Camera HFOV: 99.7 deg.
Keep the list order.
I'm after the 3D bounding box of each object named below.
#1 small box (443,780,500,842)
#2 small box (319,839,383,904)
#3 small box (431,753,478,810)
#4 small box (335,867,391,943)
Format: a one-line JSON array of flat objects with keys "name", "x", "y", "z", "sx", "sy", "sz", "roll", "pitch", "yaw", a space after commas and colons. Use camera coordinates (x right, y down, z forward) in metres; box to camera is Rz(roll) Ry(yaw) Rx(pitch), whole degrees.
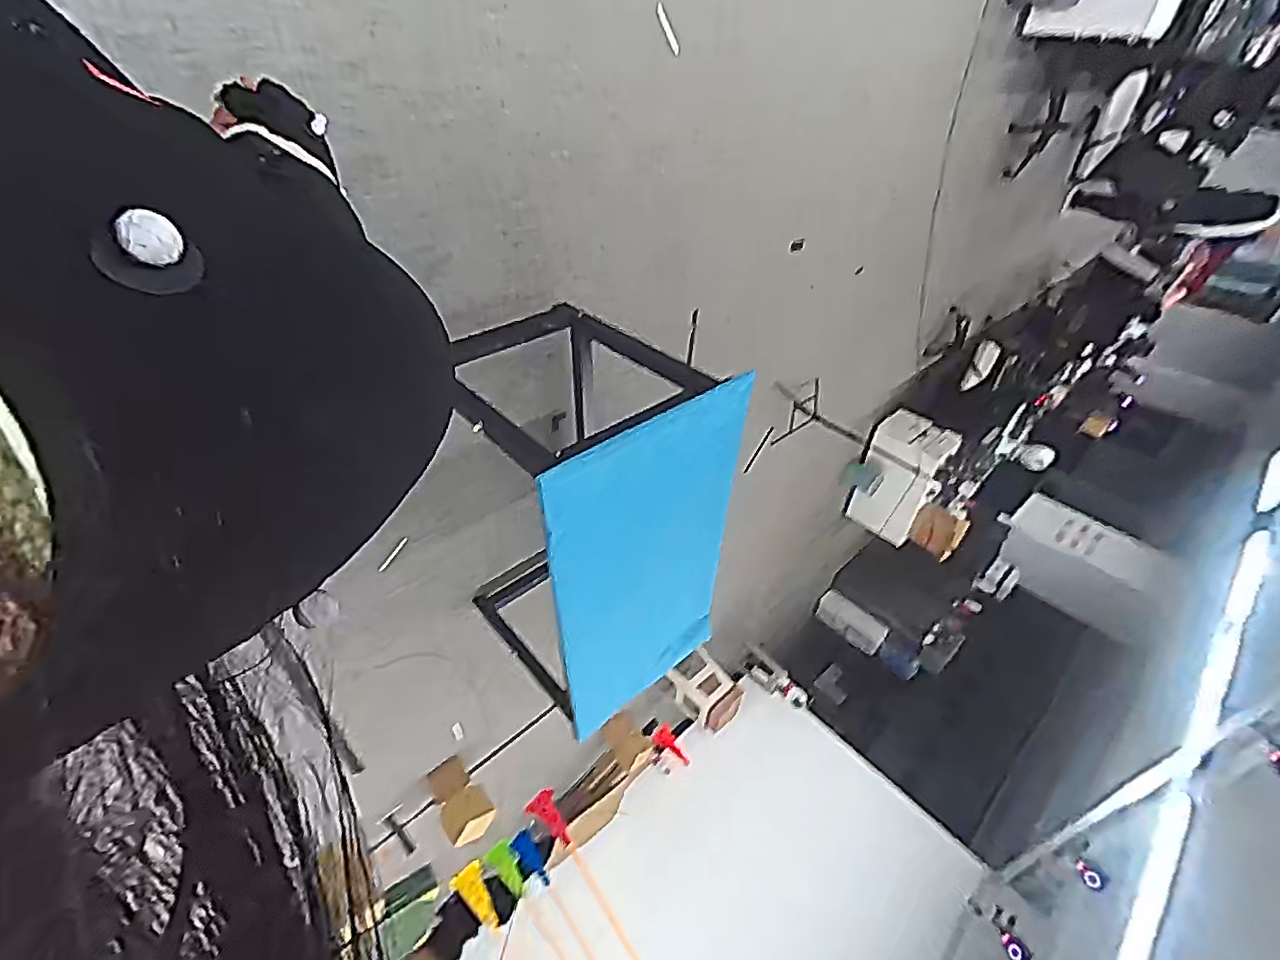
[{"name": "small box", "x": -0.817, "y": 1.617, "z": 2.633, "sx": 0.179, "sy": 0.176, "sz": 0.168, "roll": 12, "pitch": 110, "yaw": -55}, {"name": "small box", "x": -1.318, "y": 1.766, "z": 2.456, "sx": 0.179, "sy": 0.176, "sz": 0.168, "roll": -49, "pitch": 144, "yaw": -8}, {"name": "small box", "x": -0.930, "y": 1.526, "z": 2.718, "sx": 0.179, "sy": 0.176, "sz": 0.168, "roll": -29, "pitch": 139, "yaw": -34}, {"name": "small box", "x": -1.212, "y": 1.838, "z": 2.354, "sx": 0.168, "sy": 0.176, "sz": 0.179, "roll": -6, "pitch": 123, "yaw": -46}]
